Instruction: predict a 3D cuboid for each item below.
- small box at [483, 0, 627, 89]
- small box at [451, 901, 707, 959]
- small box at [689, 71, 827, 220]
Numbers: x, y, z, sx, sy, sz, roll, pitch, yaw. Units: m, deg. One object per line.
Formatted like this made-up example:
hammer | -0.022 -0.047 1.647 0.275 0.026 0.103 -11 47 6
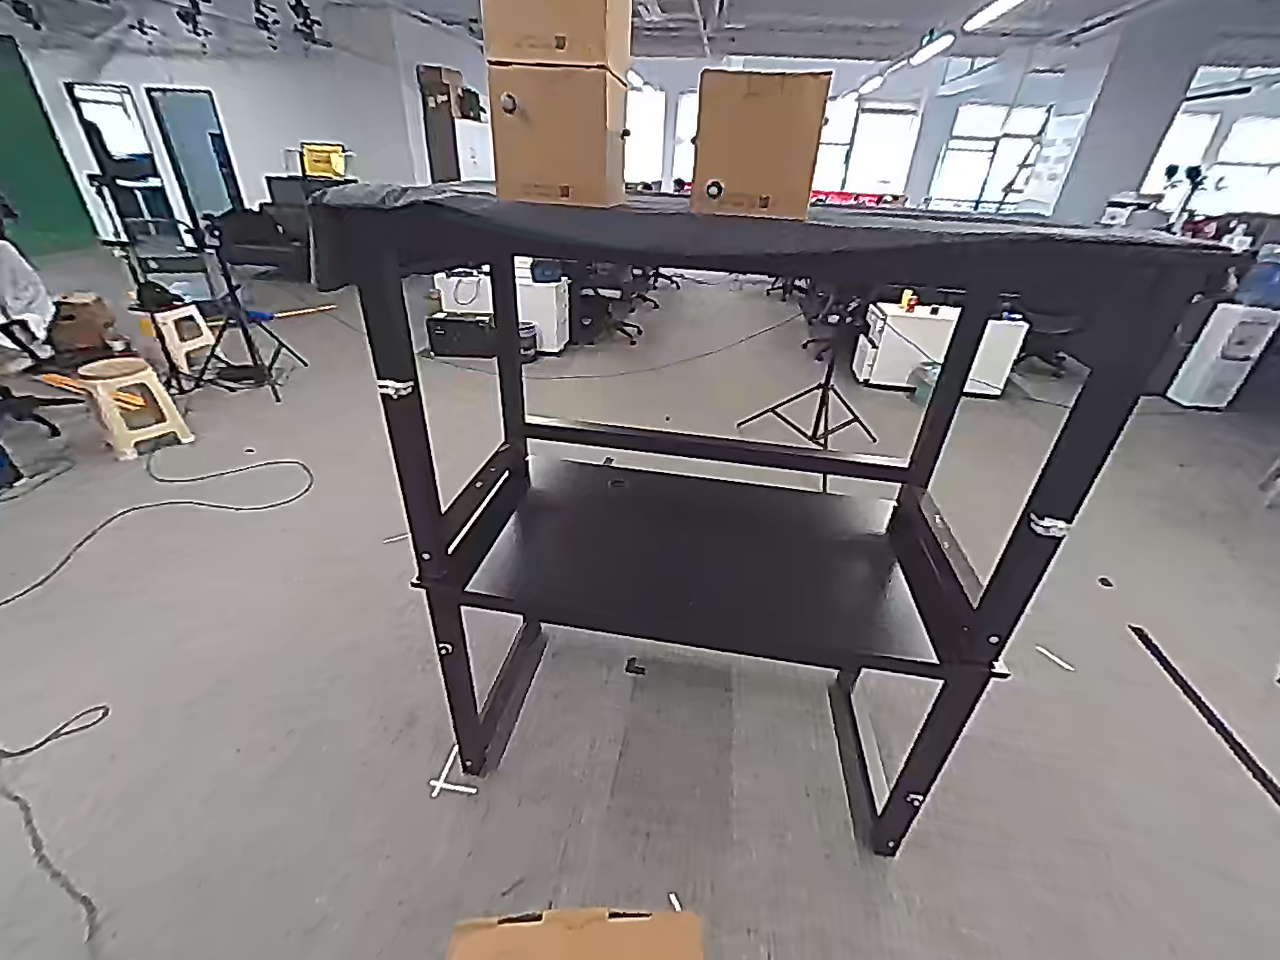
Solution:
small box | -0.110 -0.653 0.743 0.168 0.176 0.179 7 29 6
small box | -0.037 0.402 0.352 0.168 0.176 0.179 -2 43 0
small box | 0.166 -0.480 0.792 0.168 0.176 0.179 8 29 7
